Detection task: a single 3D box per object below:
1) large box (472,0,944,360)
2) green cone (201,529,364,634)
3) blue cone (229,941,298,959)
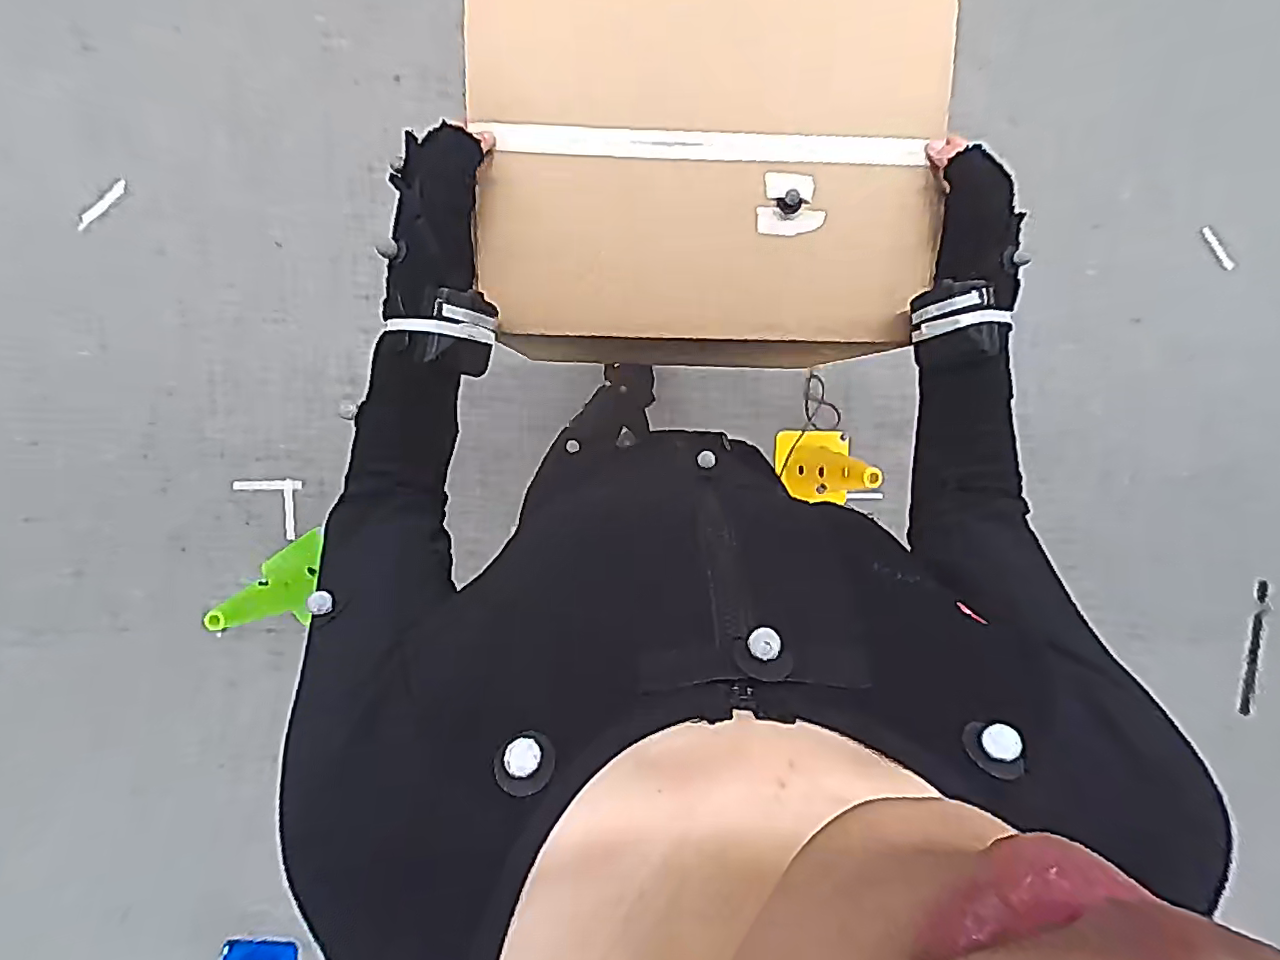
[{"bbox_3d":[0.051,-0.308,0.610,0.408,0.320,0.320,0,98,-4],"label":"large box"},{"bbox_3d":[-0.851,0.268,1.247,0.202,0.368,0.200,-36,94,2],"label":"green cone"},{"bbox_3d":[-1.041,1.380,1.333,0.192,0.380,0.193,5,93,-2],"label":"blue cone"}]
